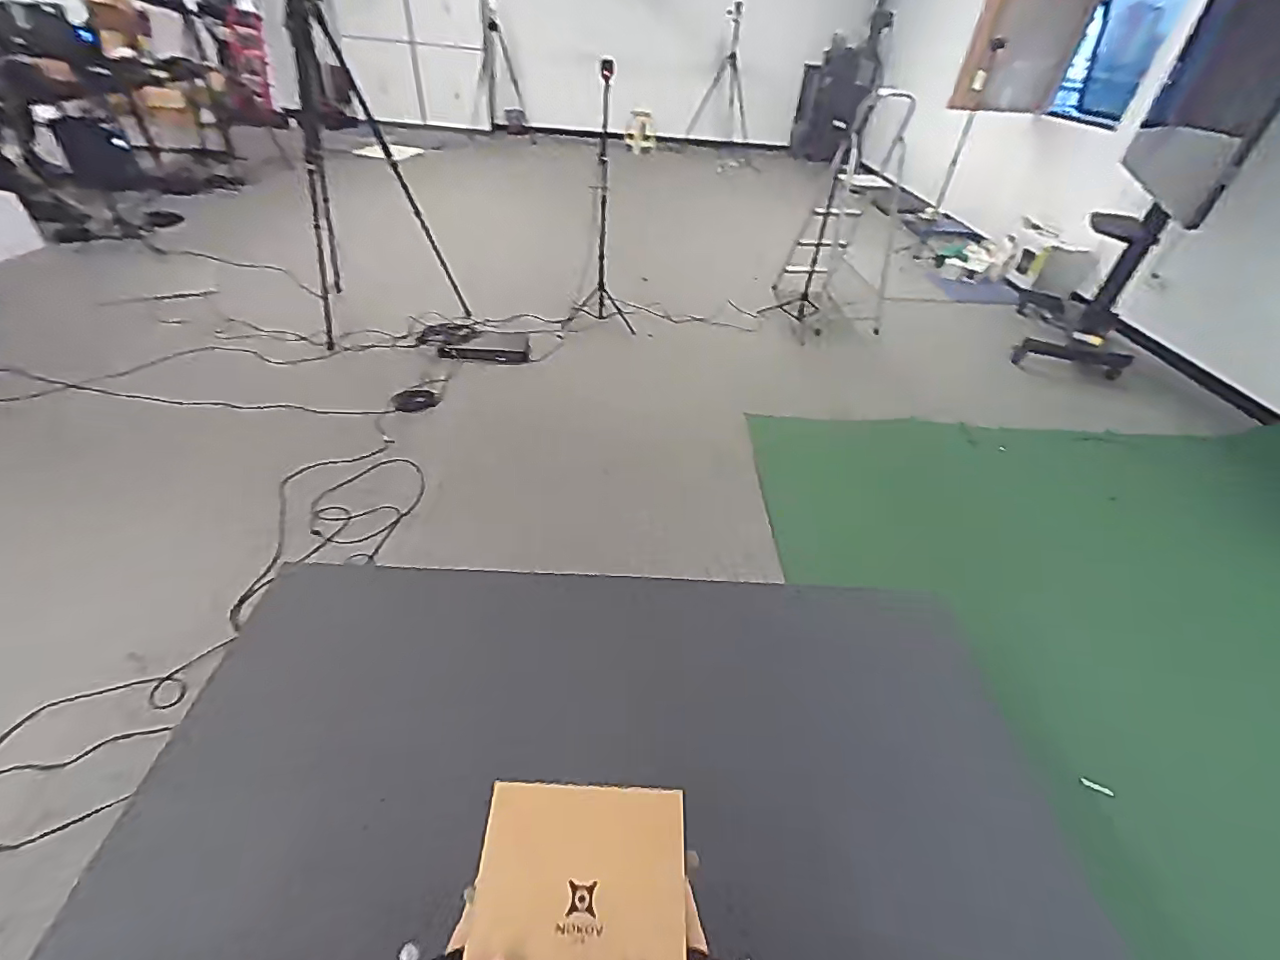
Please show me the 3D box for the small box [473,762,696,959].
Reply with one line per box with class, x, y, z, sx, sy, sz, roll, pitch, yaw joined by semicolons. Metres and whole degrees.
small box;-0.044;0.372;0.480;0.168;0.176;0.179;3;49;-1
